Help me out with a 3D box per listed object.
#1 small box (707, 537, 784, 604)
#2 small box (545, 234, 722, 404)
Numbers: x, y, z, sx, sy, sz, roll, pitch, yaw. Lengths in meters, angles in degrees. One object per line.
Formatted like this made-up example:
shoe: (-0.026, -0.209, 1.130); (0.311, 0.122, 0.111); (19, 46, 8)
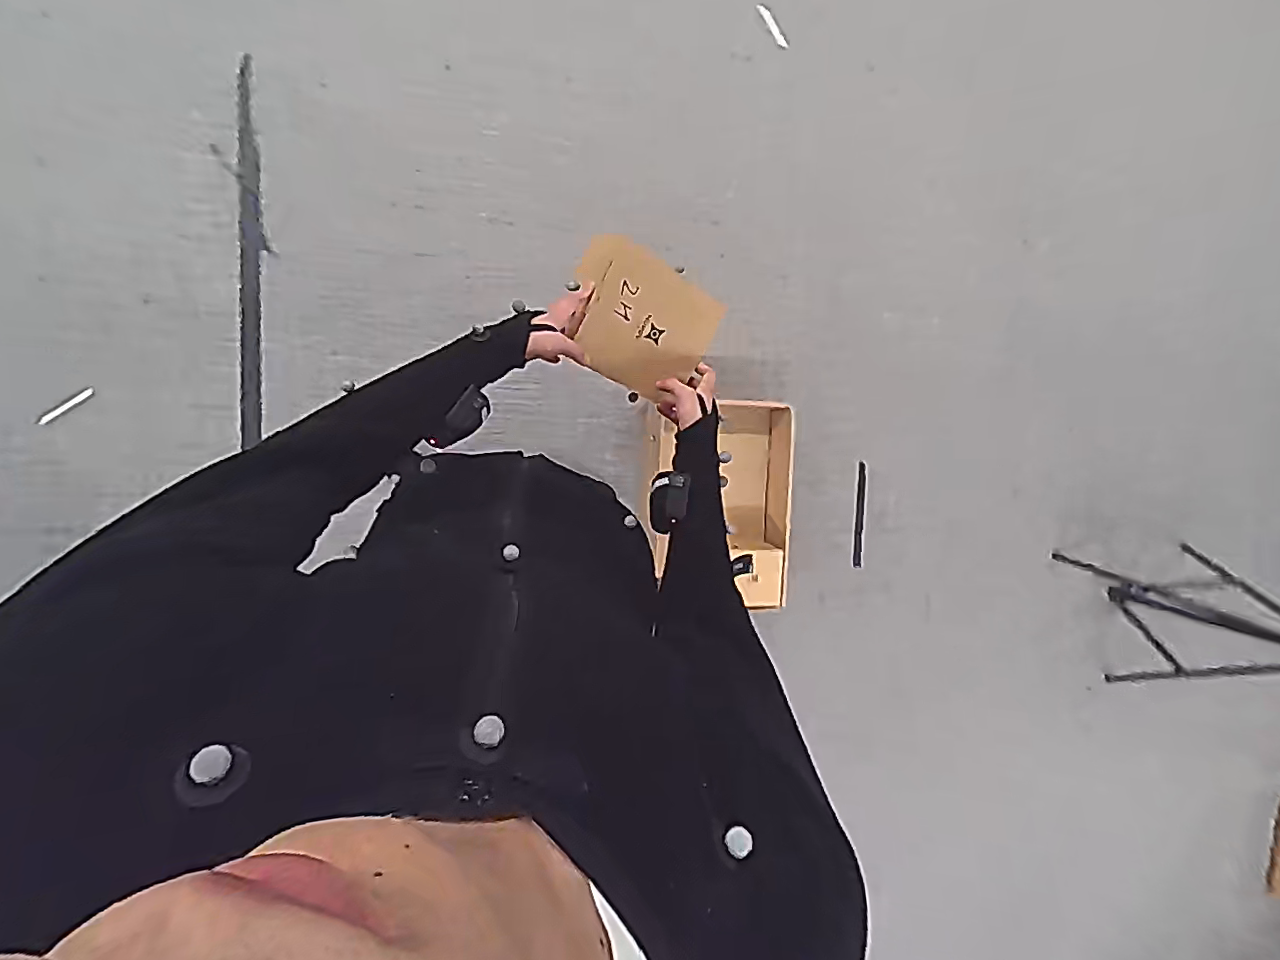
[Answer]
small box: (0.314, 0.268, 1.627); (0.179, 0.176, 0.168); (2, 95, -9)
small box: (-0.019, -0.236, 0.783); (0.179, 0.176, 0.168); (23, 104, -25)
